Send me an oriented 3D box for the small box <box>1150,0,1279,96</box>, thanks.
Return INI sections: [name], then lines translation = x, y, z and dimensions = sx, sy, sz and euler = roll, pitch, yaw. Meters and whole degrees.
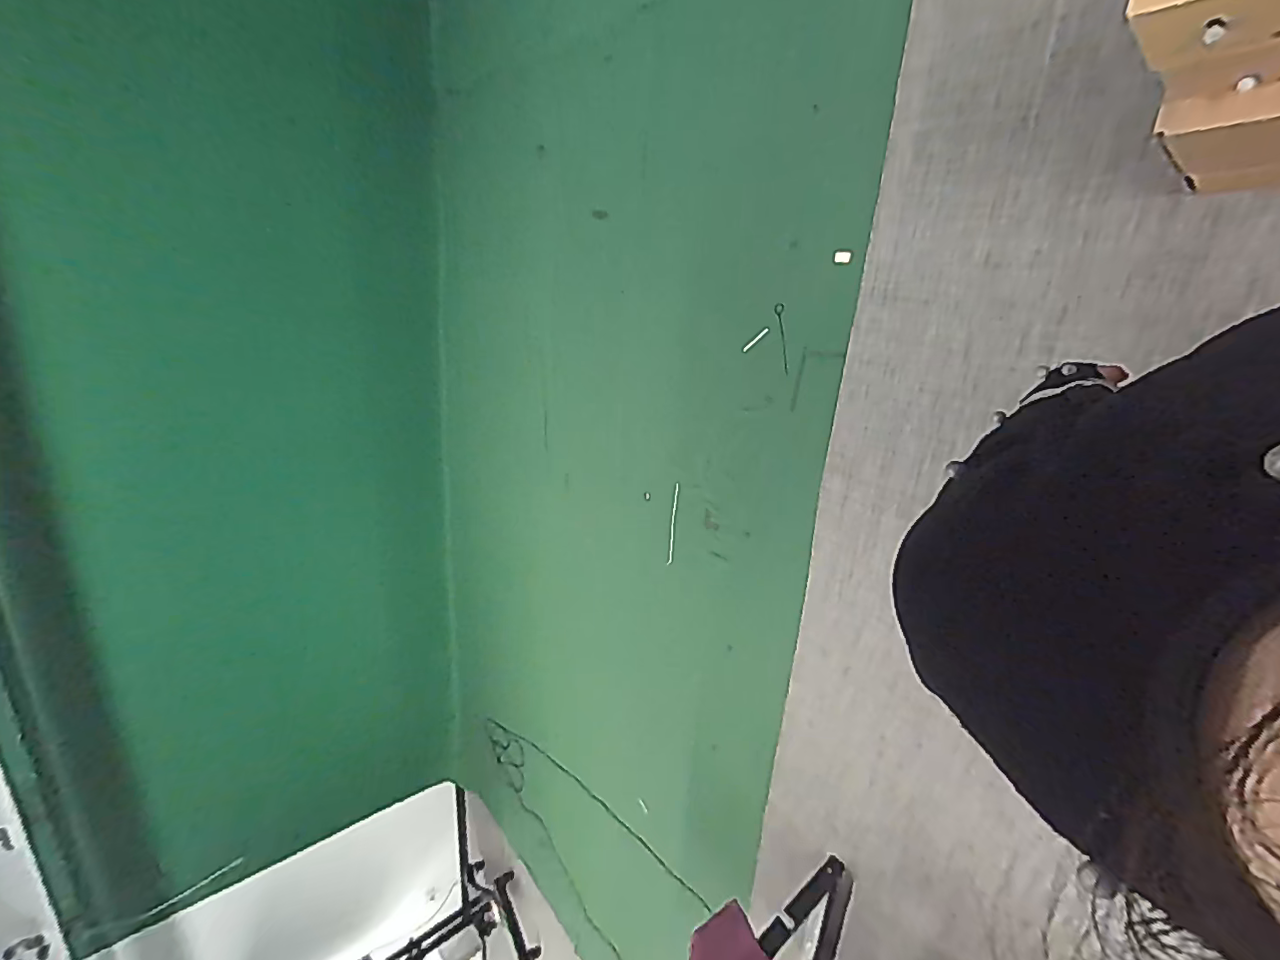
[small box]
translation = 0.722, -0.572, 0.610
dimensions = 0.168, 0.176, 0.179
euler = 23, 118, 44
